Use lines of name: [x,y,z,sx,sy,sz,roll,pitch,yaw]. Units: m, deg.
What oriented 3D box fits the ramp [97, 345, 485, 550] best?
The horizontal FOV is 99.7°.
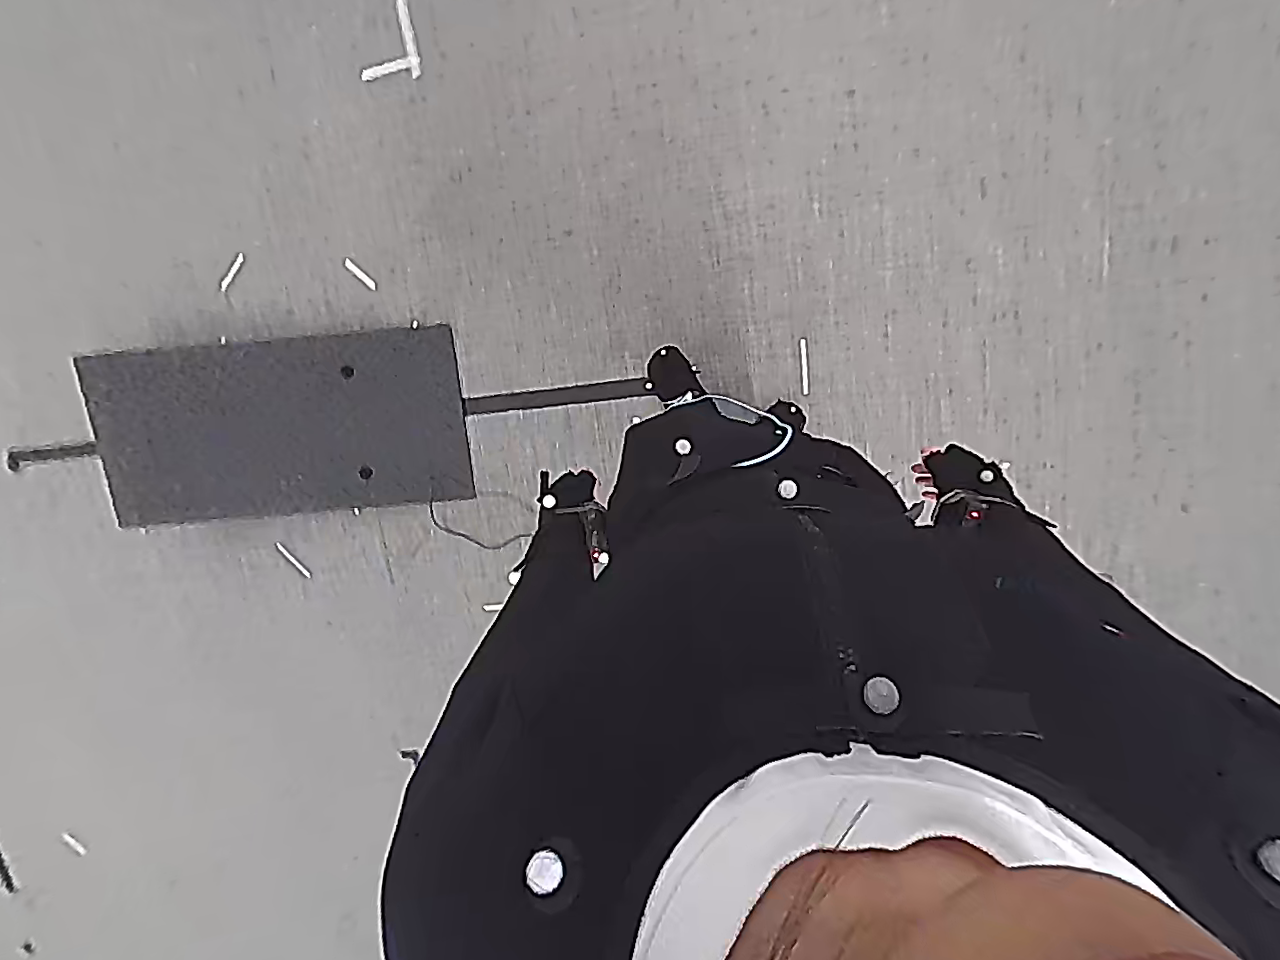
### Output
ramp: [-0.972,-0.089,1.535,0.991,0.206,0.509,-6,98,9]
